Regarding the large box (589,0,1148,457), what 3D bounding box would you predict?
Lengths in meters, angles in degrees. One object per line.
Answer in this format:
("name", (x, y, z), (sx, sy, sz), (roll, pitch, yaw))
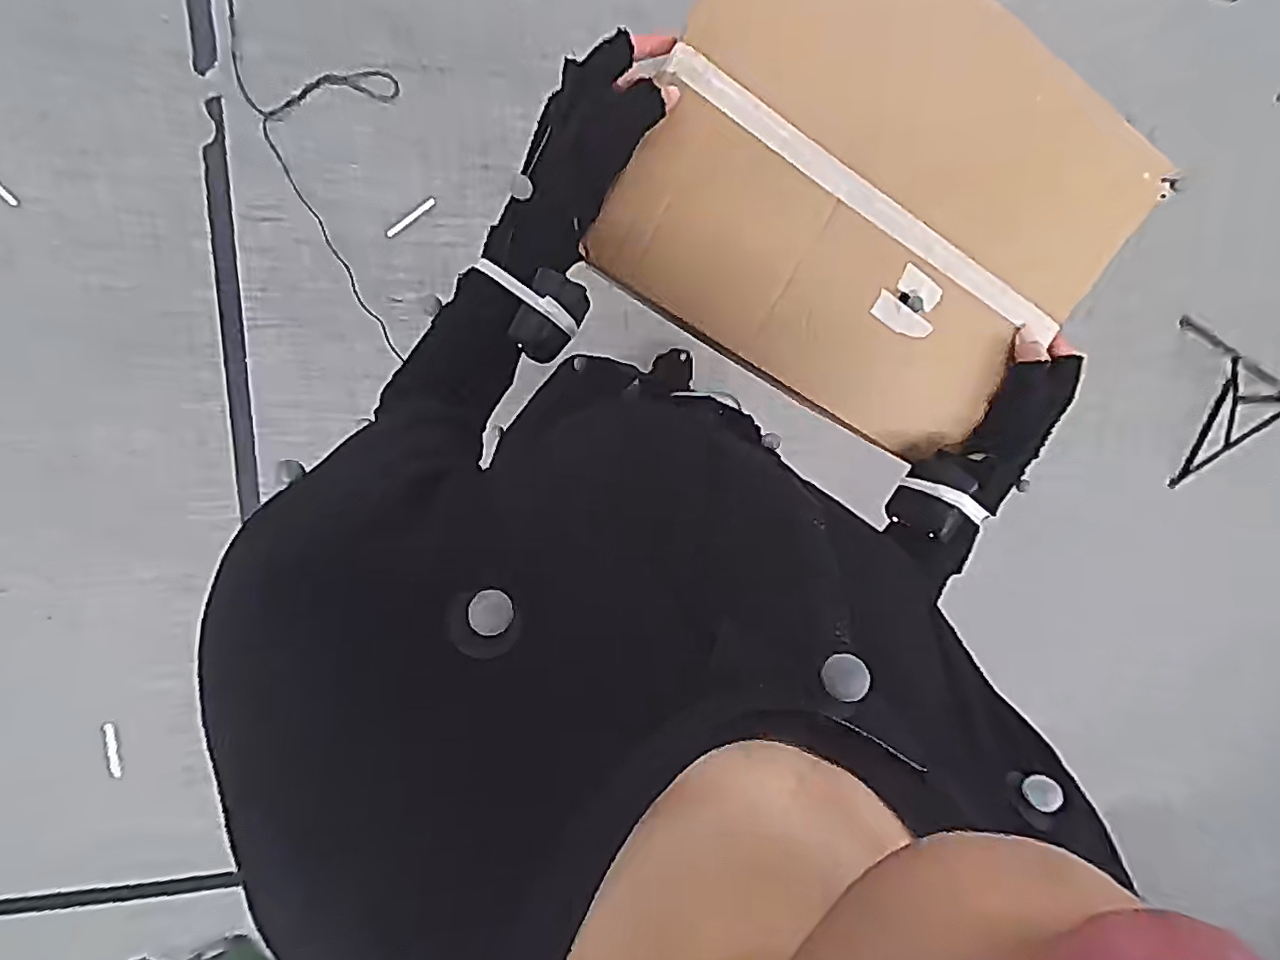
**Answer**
("large box", (0.185, -0.284, 0.602), (0.408, 0.320, 0.320), (28, 106, -14))
